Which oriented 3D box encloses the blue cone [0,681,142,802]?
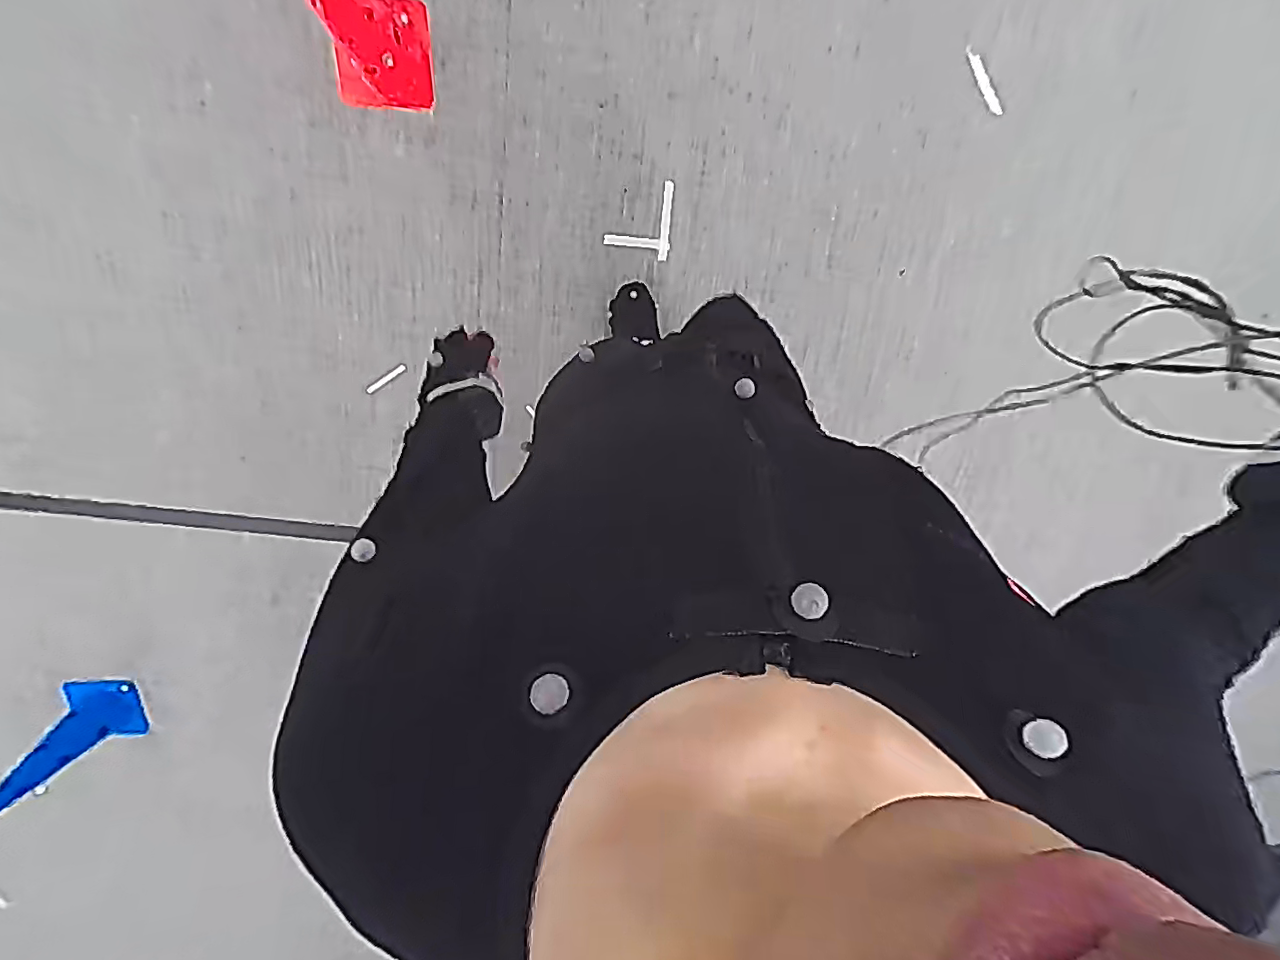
[{"bbox_3d":[-1.586,0.731,1.454,0.193,0.380,0.192,1,109,-4],"label":"blue cone"}]

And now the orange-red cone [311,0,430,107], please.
[{"bbox_3d":[-0.537,-0.850,0.974,0.199,0.360,0.198,2,108,-3],"label":"orange-red cone"}]
